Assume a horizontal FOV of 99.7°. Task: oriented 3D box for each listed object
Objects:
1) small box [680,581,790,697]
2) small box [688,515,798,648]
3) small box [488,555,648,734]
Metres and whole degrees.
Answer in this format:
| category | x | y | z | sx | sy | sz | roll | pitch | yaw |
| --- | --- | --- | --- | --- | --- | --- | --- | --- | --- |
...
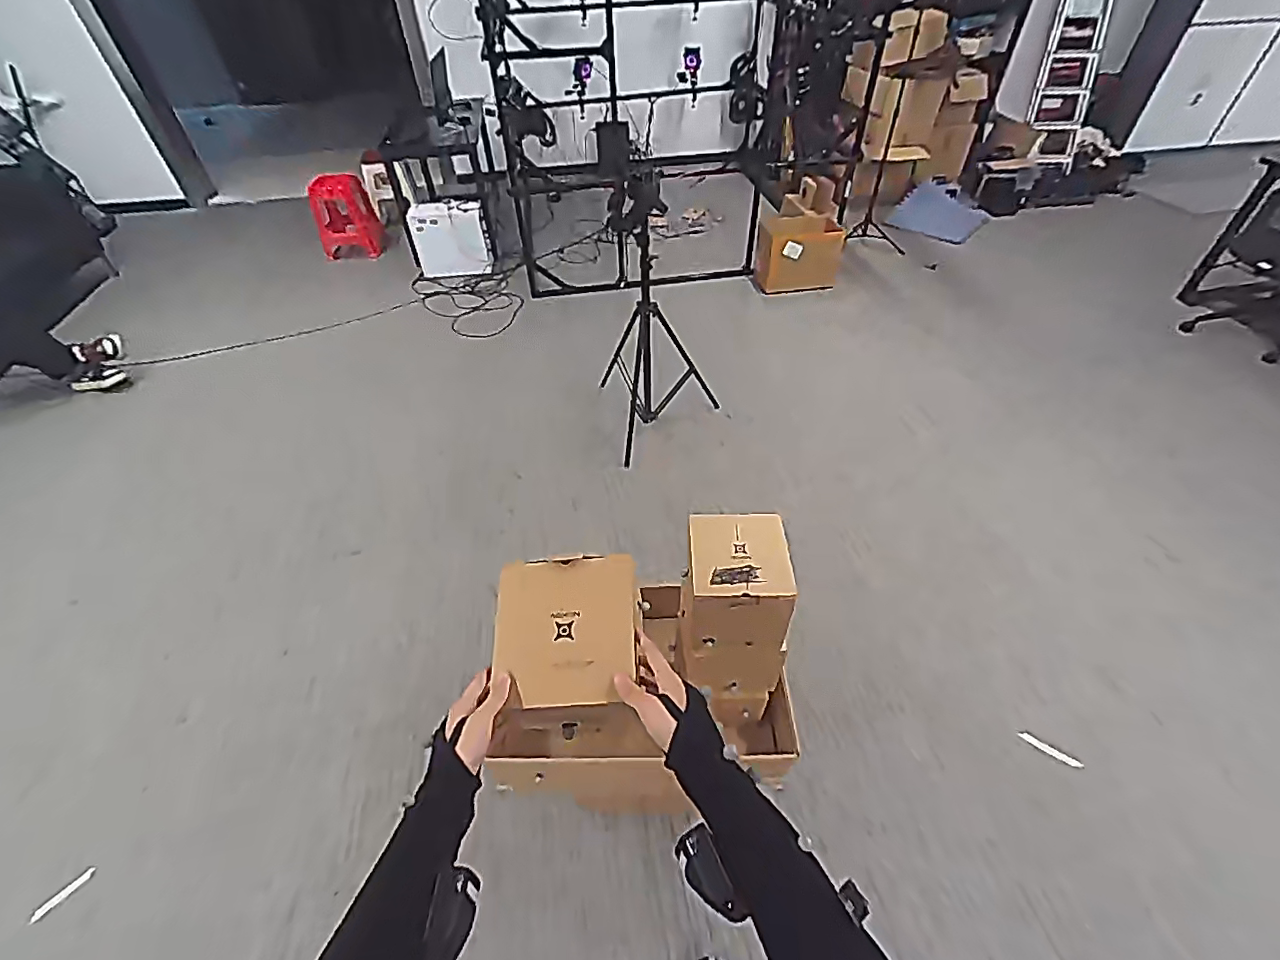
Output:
| category | x | y | z | sx | sy | sz | roll | pitch | yaw |
| --- | --- | --- | --- | --- | --- | --- | --- | --- | --- |
| small box | 0.175 | 0.309 | 1.058 | 0.179 | 0.176 | 0.168 | -2 | 45 | -2 |
| small box | 0.170 | 0.182 | 0.953 | 0.168 | 0.176 | 0.179 | 0 | 44 | 2 |
| small box | -0.079 | 0.213 | 0.688 | 0.168 | 0.176 | 0.179 | -5 | 57 | 3 |
